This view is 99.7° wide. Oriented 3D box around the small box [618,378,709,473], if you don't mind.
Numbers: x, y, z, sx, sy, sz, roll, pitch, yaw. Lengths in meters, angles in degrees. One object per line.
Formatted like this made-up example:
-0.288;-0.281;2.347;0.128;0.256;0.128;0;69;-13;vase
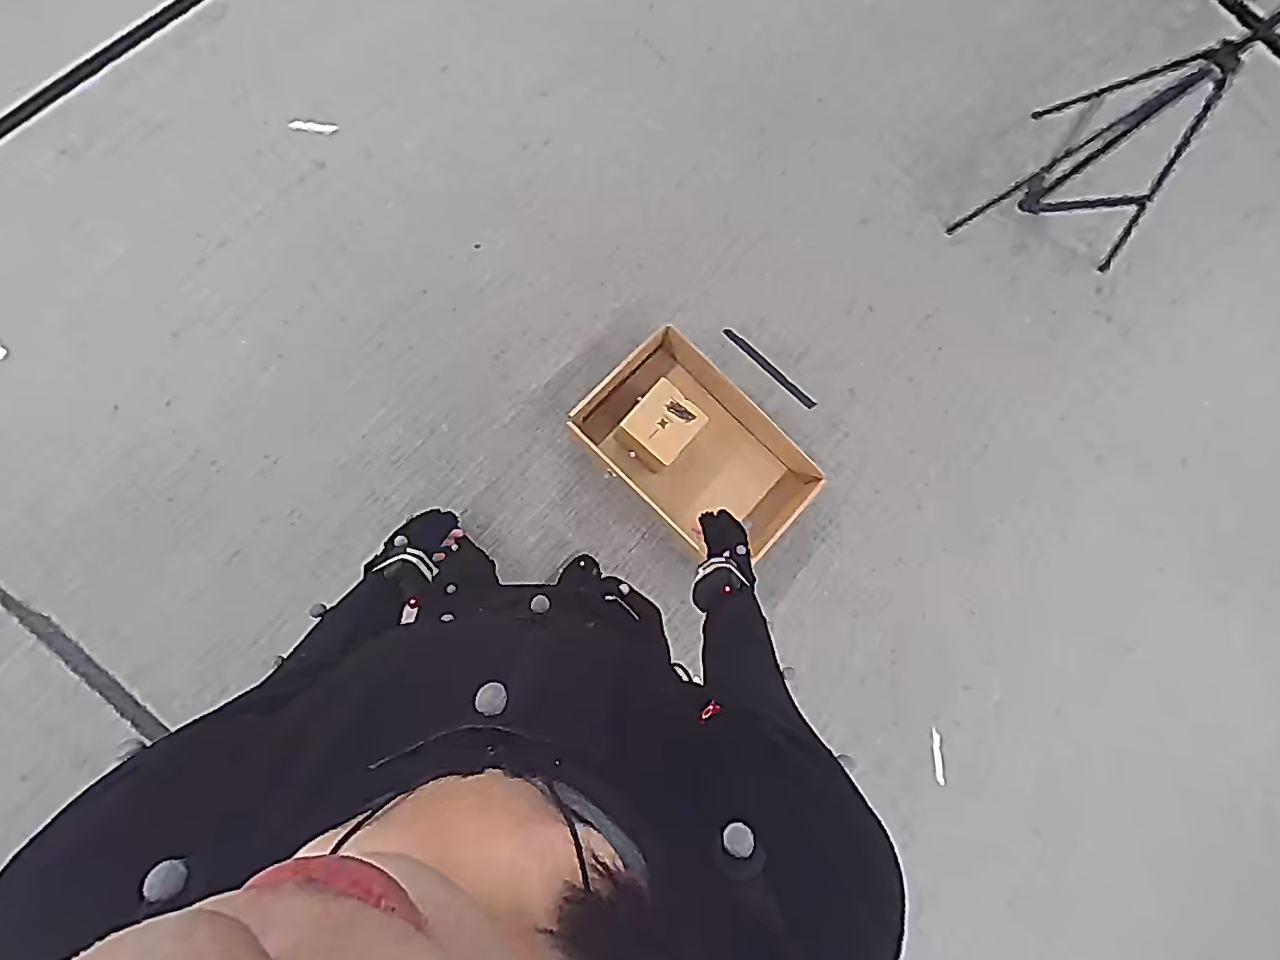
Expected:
0.055;-0.141;1.466;0.168;0.176;0.179;42;79;-2;small box
